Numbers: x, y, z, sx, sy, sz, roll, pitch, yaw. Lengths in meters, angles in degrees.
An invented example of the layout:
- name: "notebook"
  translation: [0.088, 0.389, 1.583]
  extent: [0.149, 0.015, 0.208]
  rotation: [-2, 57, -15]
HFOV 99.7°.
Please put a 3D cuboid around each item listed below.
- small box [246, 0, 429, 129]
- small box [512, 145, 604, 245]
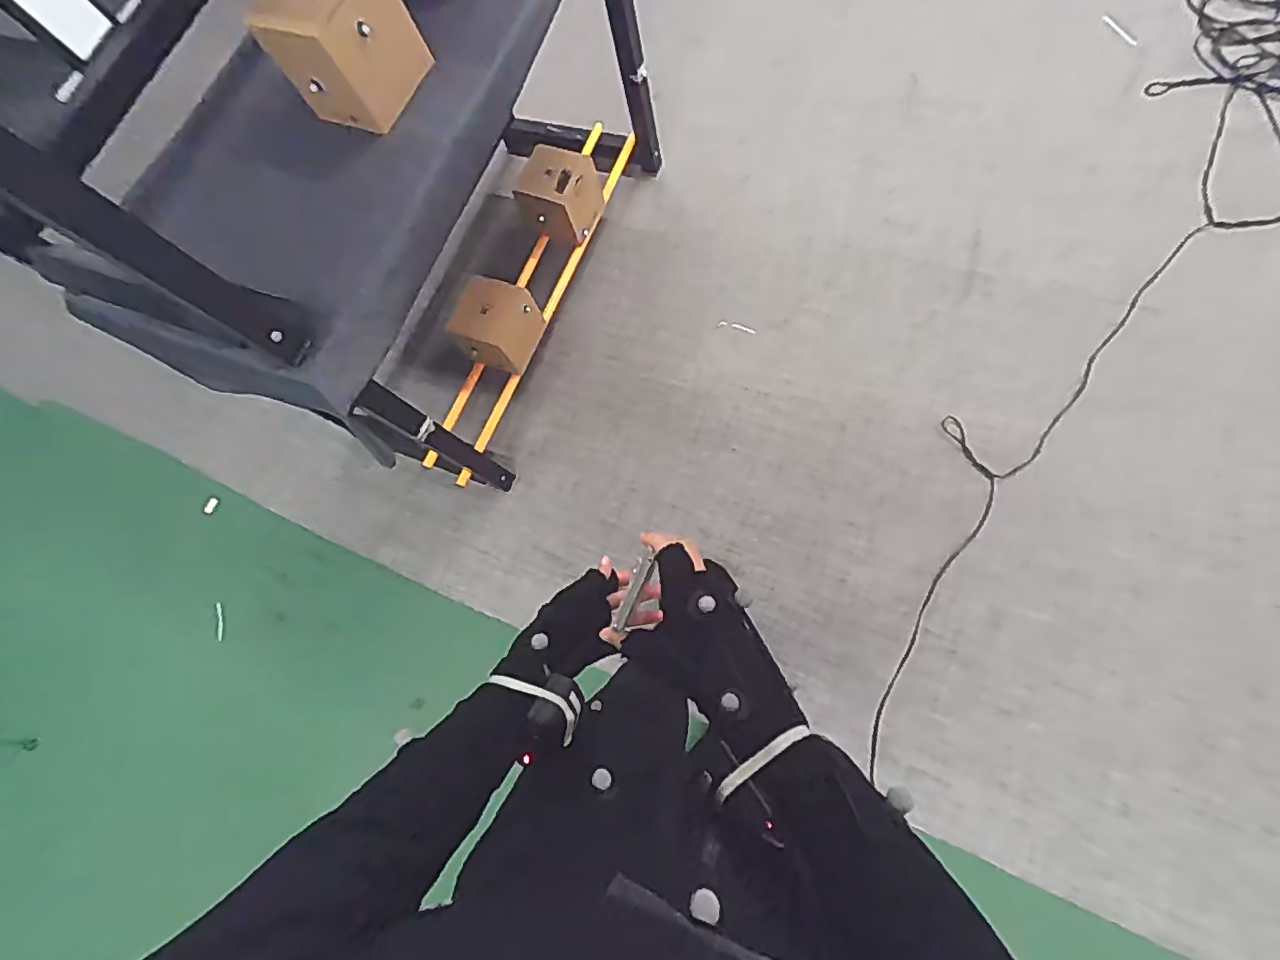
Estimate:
- name: "small box"
  translation: [-0.489, -0.731, 0.902]
  extent: [0.168, 0.176, 0.179]
  rotation: [23, 80, 16]
- name: "small box"
  translation: [-0.223, -0.800, 1.532]
  extent: [0.179, 0.176, 0.168]
  rotation: [23, 79, 16]
